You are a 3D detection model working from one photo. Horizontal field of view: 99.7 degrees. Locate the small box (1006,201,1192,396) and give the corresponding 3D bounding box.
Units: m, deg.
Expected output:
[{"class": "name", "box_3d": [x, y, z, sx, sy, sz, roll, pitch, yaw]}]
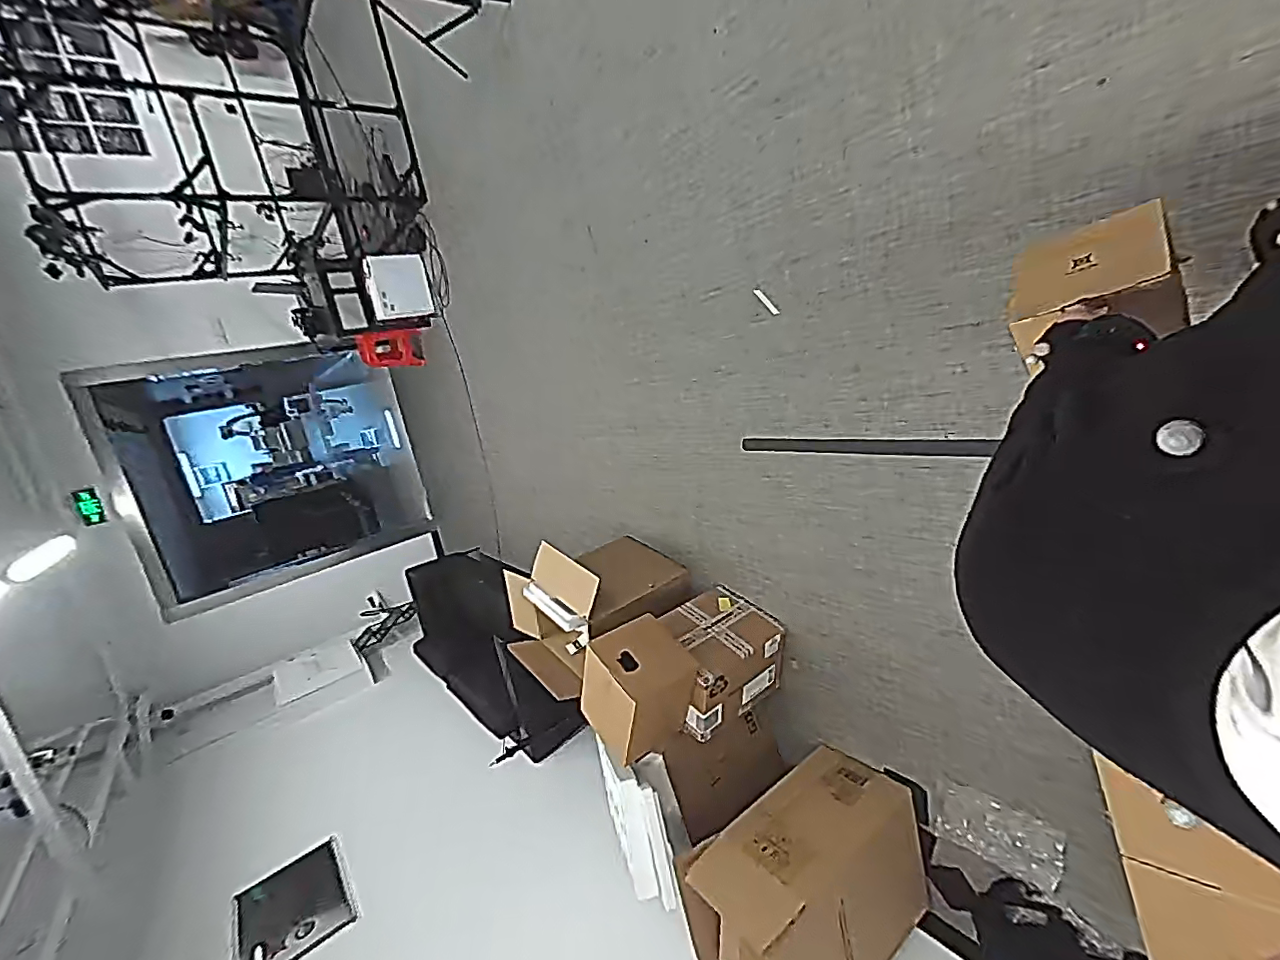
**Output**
[{"class": "small box", "box_3d": [0.641, -0.238, 0.760, 0.168, 0.179, 0.176, -12, 133, 48]}]
